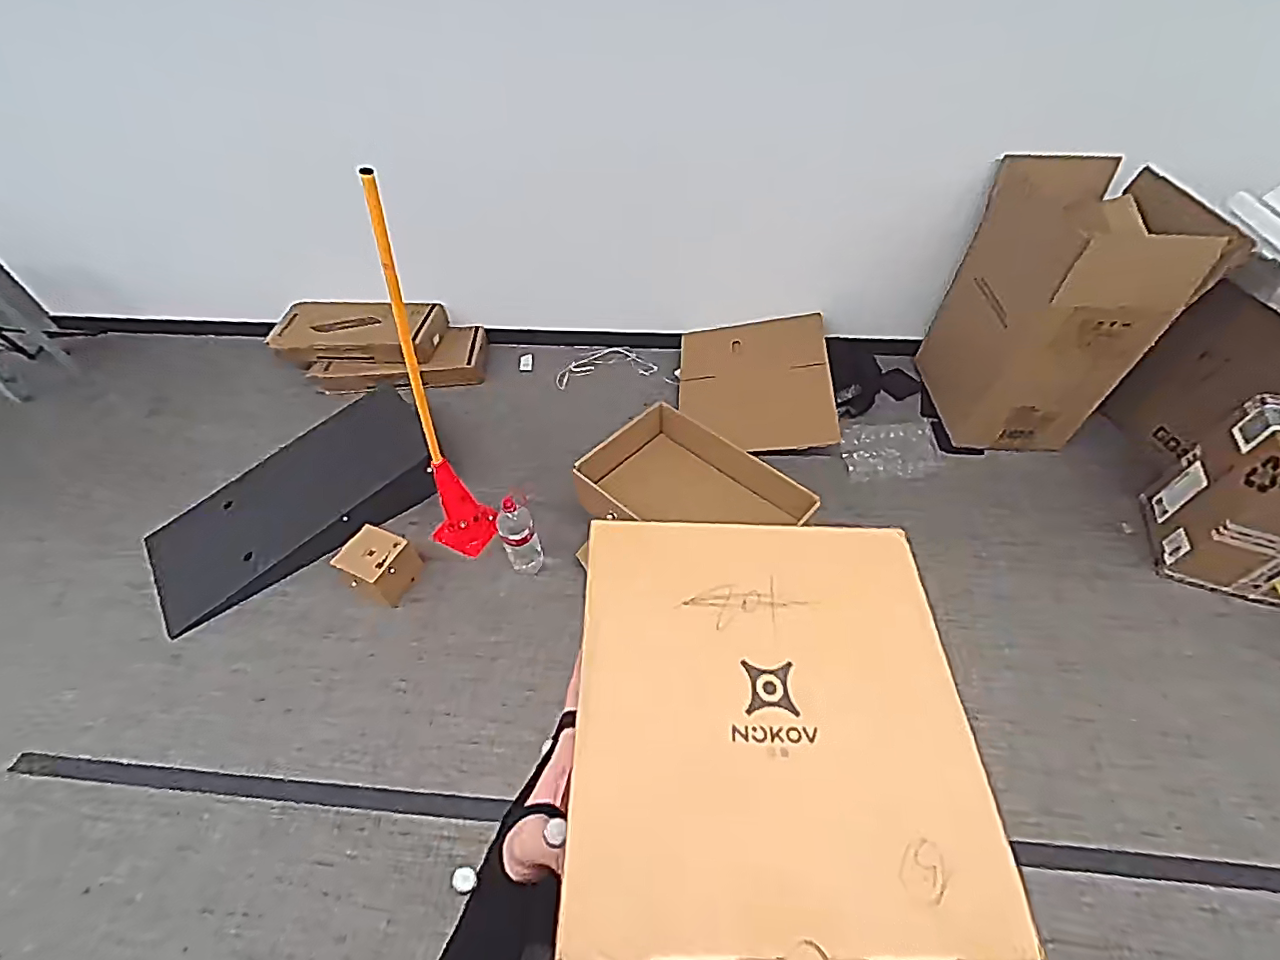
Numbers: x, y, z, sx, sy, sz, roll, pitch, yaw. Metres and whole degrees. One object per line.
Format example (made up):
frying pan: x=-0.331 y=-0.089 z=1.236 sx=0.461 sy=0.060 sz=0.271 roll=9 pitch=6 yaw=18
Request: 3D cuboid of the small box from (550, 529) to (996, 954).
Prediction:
small box: x=0.047 y=0.147 z=0.307 sx=0.168 sy=0.176 sz=0.179 roll=2 pitch=51 yaw=-2
